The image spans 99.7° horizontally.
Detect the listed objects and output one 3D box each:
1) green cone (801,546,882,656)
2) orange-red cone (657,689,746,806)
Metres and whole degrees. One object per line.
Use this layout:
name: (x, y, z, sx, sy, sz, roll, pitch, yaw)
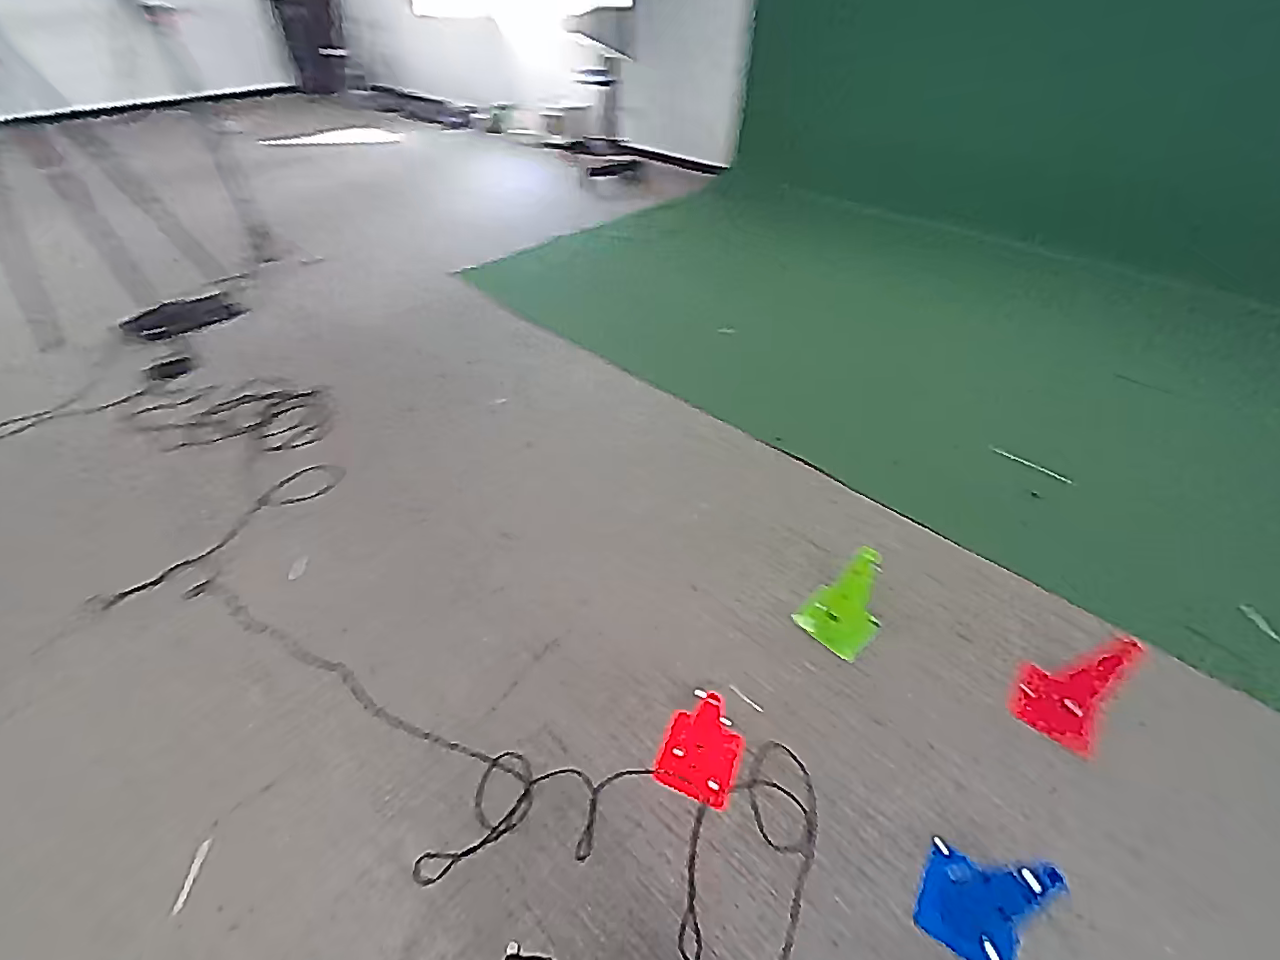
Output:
green cone: (0.638, 0.317, 1.599, 0.202, 0.368, 0.200, -35, 54, -29)
orange-red cone: (0.169, 0.601, 1.307, 0.198, 0.360, 0.199, 19, 46, 16)
